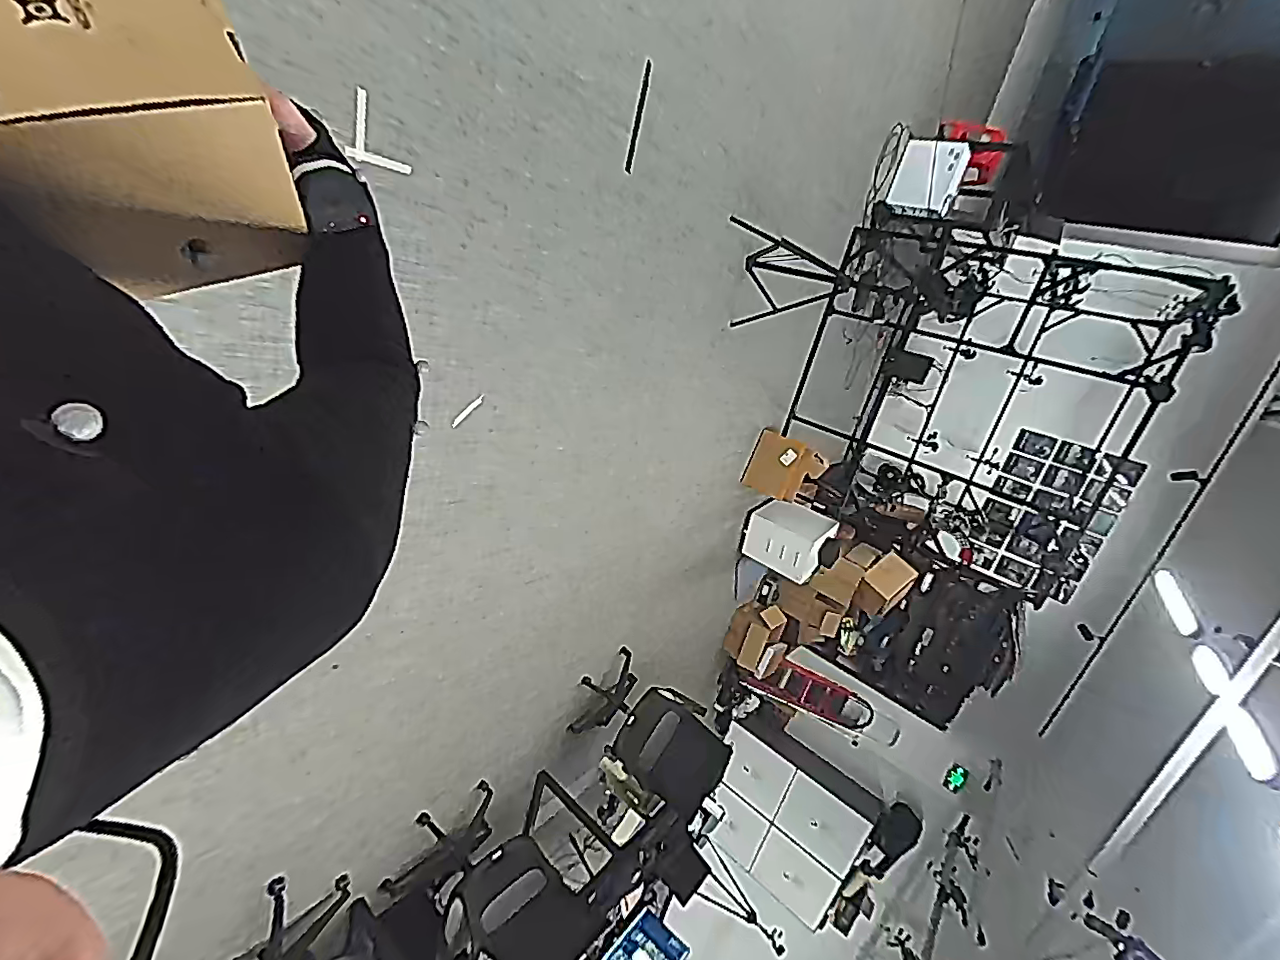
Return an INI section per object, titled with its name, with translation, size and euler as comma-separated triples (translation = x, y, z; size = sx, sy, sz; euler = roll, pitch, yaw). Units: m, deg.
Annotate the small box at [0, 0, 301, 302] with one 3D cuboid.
[small box]
translation = -0.401, -0.275, 0.432
size = 0.179, 0.168, 0.176
euler = -28, 172, -26
